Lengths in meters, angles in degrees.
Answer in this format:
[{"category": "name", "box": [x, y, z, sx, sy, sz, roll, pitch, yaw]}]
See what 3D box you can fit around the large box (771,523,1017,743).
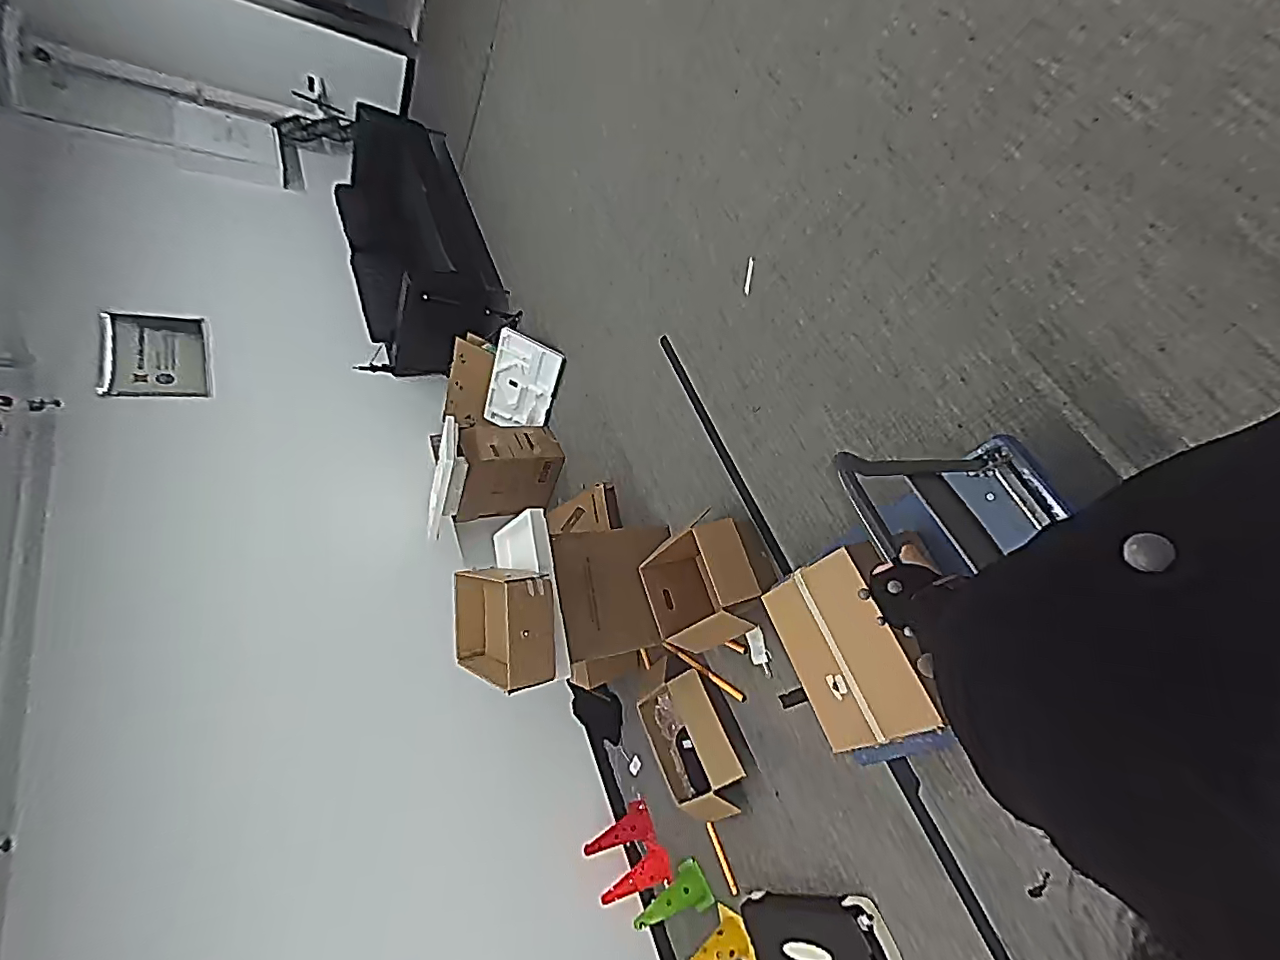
[{"category": "large box", "box": [0.608, 0.364, 1.334, 0.320, 0.320, 0.408, -51, 54, 47]}]
